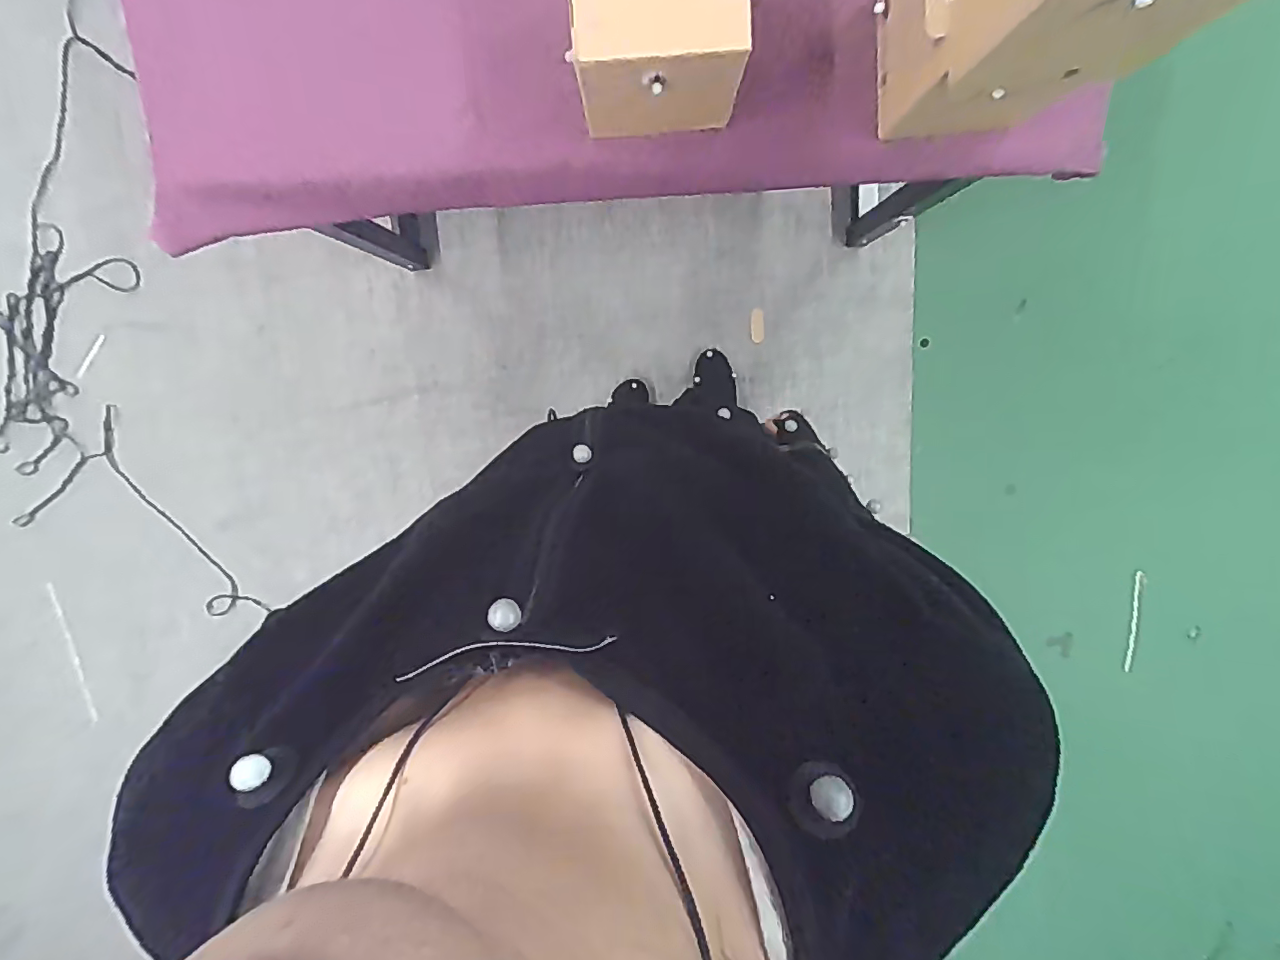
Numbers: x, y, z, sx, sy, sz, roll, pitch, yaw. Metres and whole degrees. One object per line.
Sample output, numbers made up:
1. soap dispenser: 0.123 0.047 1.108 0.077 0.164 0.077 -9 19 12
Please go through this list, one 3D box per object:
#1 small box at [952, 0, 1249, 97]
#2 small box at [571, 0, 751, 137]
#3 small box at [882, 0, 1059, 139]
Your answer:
1. small box: 0.376 -0.449 0.432 0.168 0.176 0.179 -3 100 3
2. small box: 0.021 -0.503 0.595 0.179 0.176 0.168 -3 100 1
3. small box: 0.380 -0.498 0.589 0.179 0.176 0.168 -5 101 2
